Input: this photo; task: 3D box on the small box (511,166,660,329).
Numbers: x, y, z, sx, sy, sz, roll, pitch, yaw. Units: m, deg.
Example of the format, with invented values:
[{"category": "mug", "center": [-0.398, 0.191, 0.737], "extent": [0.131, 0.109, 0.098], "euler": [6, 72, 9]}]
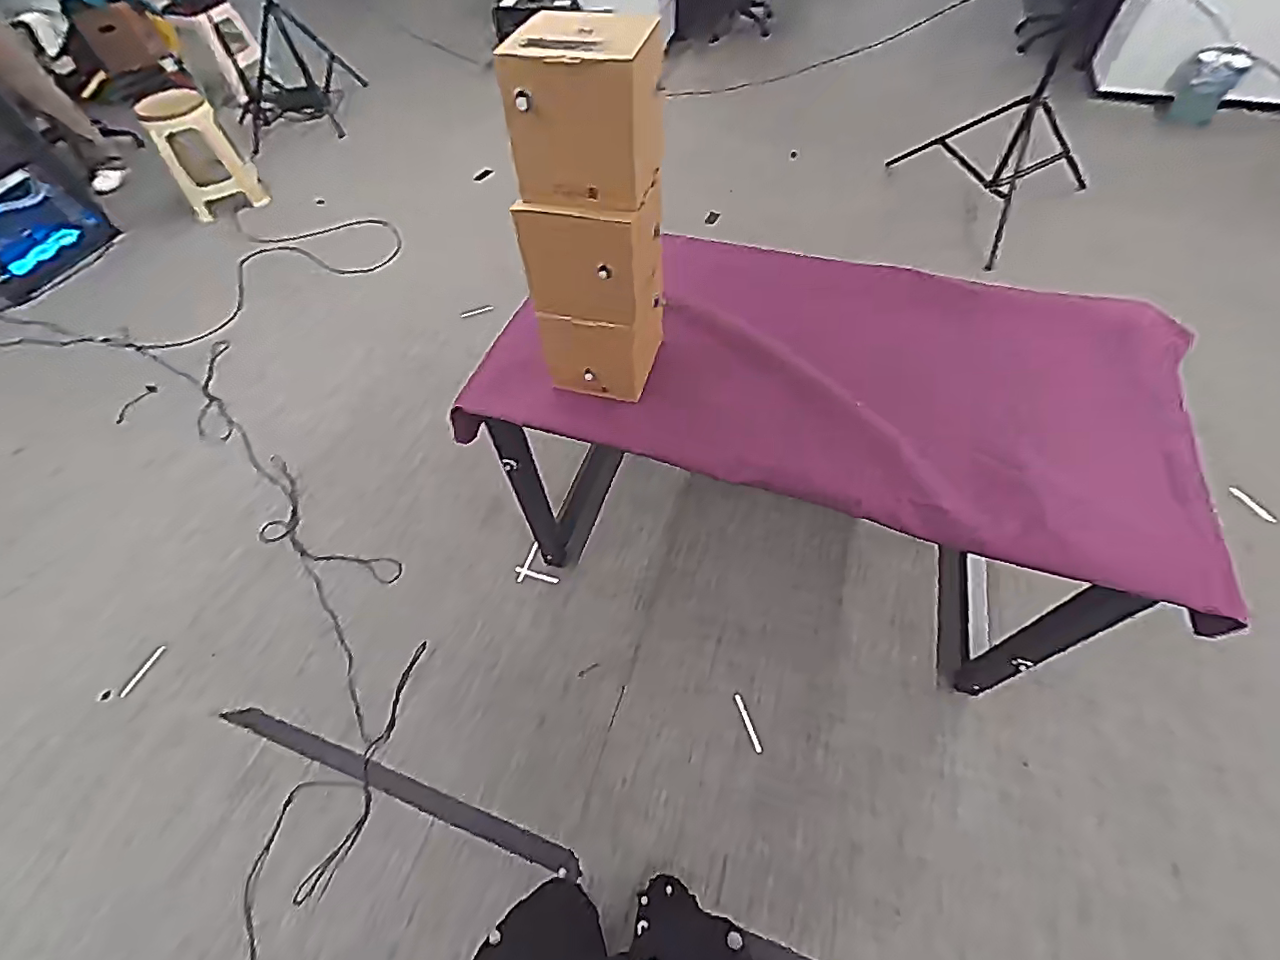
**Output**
[{"category": "small box", "center": [-0.071, -0.357, 0.839], "extent": [0.179, 0.176, 0.168], "euler": [11, 54, 11]}]

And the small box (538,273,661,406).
[{"category": "small box", "center": [-0.064, -0.262, 0.970], "extent": [0.168, 0.176, 0.179], "euler": [12, 56, 11]}]
